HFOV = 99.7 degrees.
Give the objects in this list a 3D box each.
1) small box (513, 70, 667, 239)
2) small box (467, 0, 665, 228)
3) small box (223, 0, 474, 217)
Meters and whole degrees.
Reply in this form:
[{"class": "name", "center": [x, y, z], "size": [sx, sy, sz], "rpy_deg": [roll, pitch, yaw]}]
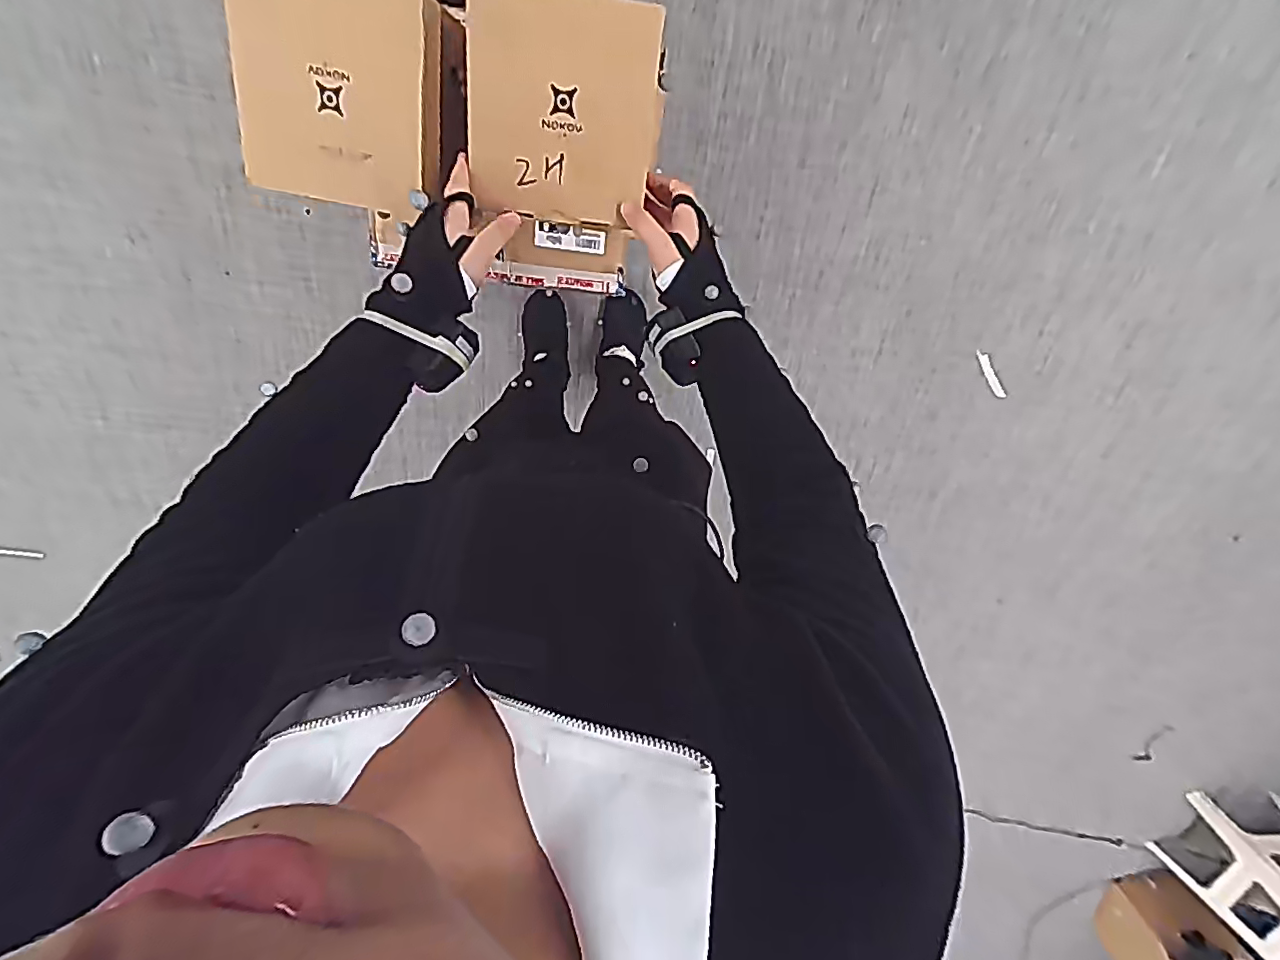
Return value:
[{"class": "small box", "center": [-0.068, -0.426, 0.703], "size": [0.168, 0.176, 0.179], "rpy_deg": [7, 117, -6]}, {"class": "small box", "center": [-0.074, -0.364, 0.549], "size": [0.168, 0.176, 0.179], "rpy_deg": [5, 117, -5]}, {"class": "small box", "center": [-0.267, -0.374, 0.540], "size": [0.168, 0.176, 0.179], "rpy_deg": [10, 118, -2]}]
